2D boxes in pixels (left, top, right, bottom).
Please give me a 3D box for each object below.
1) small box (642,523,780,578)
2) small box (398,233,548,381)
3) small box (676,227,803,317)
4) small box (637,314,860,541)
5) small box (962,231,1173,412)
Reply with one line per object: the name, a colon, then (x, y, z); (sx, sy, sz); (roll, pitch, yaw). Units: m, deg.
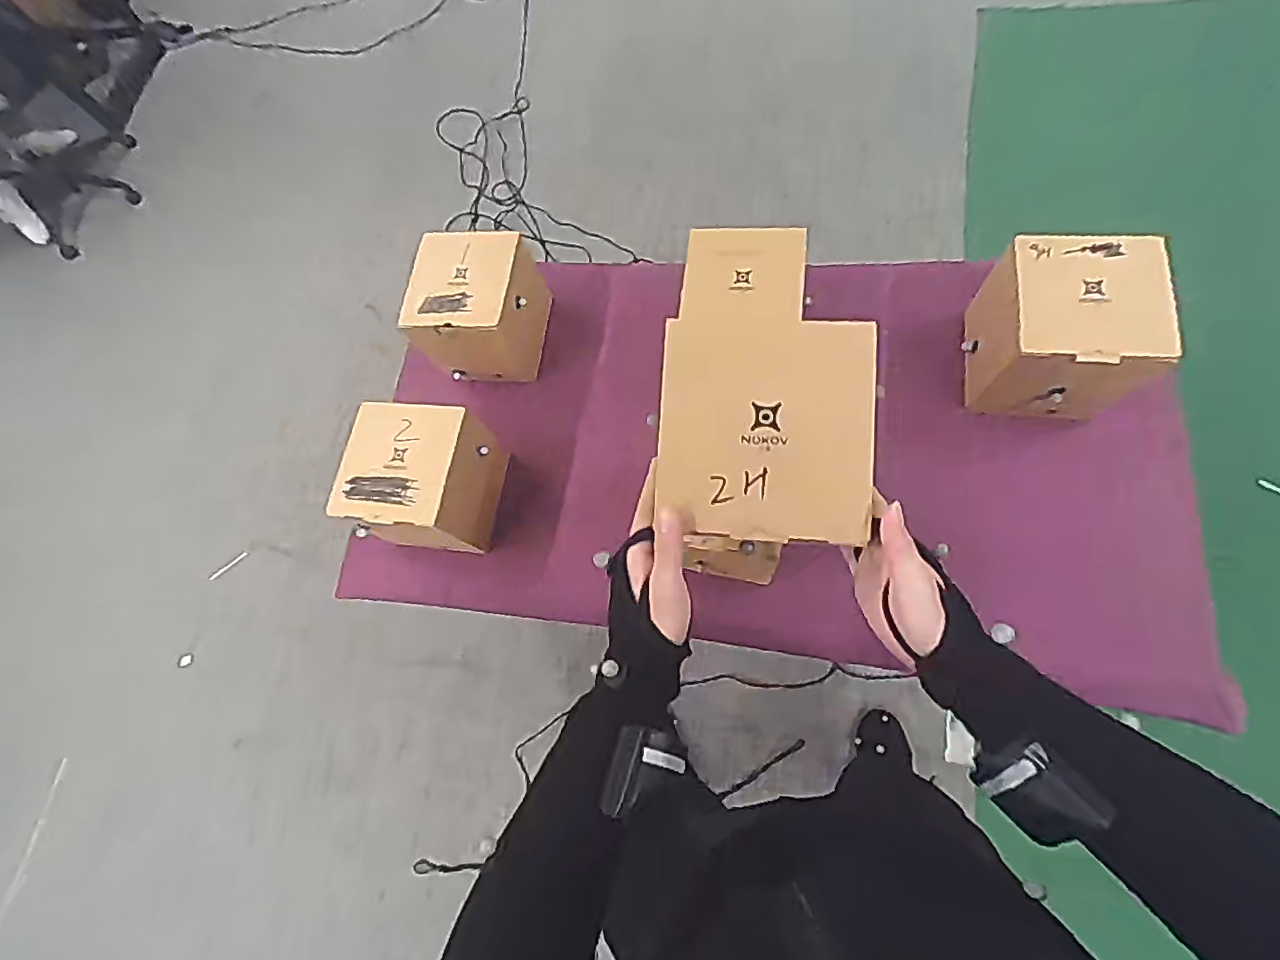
small box: (0.109, 0.024, 0.735); (0.168, 0.176, 0.179); (8, 73, 13)
small box: (-0.265, -0.279, 0.900); (0.168, 0.176, 0.179); (3, 72, 11)
small box: (0.150, -0.251, 0.818); (0.168, 0.176, 0.179); (5, 73, 11)
small box: (0.095, -0.037, 0.502); (0.168, 0.176, 0.179); (3, 85, 9)
small box: (0.554, -0.204, 0.727); (0.168, 0.176, 0.179); (6, 74, 12)
